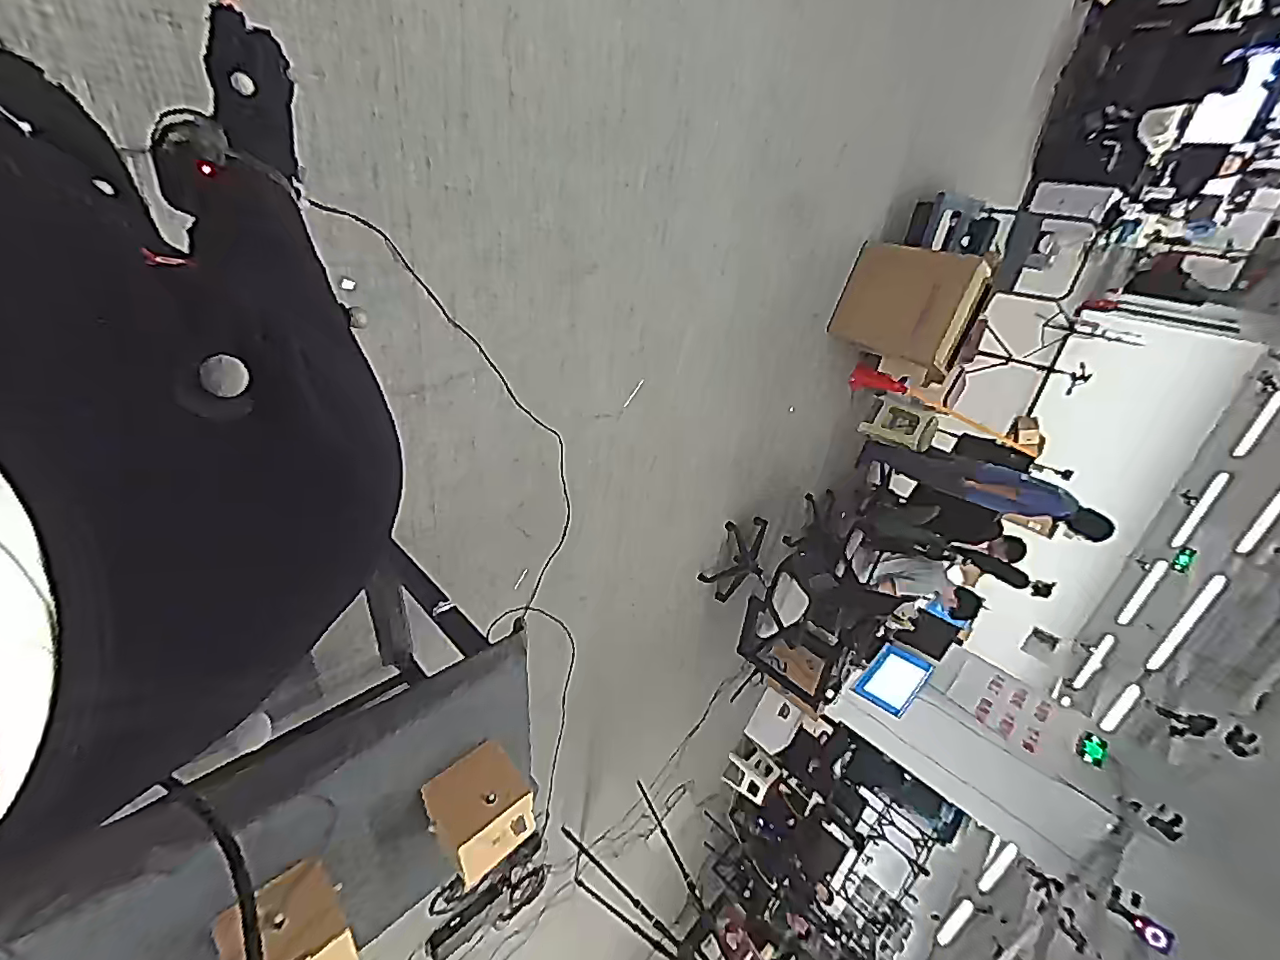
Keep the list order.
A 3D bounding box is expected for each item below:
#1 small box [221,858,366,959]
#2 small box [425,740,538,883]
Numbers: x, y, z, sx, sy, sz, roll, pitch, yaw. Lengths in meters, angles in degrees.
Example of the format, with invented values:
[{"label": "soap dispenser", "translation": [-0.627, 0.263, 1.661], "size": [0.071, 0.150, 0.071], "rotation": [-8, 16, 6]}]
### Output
[{"label": "small box", "translation": [-0.611, 0.824, 0.959], "size": [0.168, 0.176, 0.179], "rotation": [-21, 128, -41]}, {"label": "small box", "translation": [-0.349, 0.725, 1.201], "size": [0.179, 0.176, 0.168], "rotation": [-25, 131, -37]}]
